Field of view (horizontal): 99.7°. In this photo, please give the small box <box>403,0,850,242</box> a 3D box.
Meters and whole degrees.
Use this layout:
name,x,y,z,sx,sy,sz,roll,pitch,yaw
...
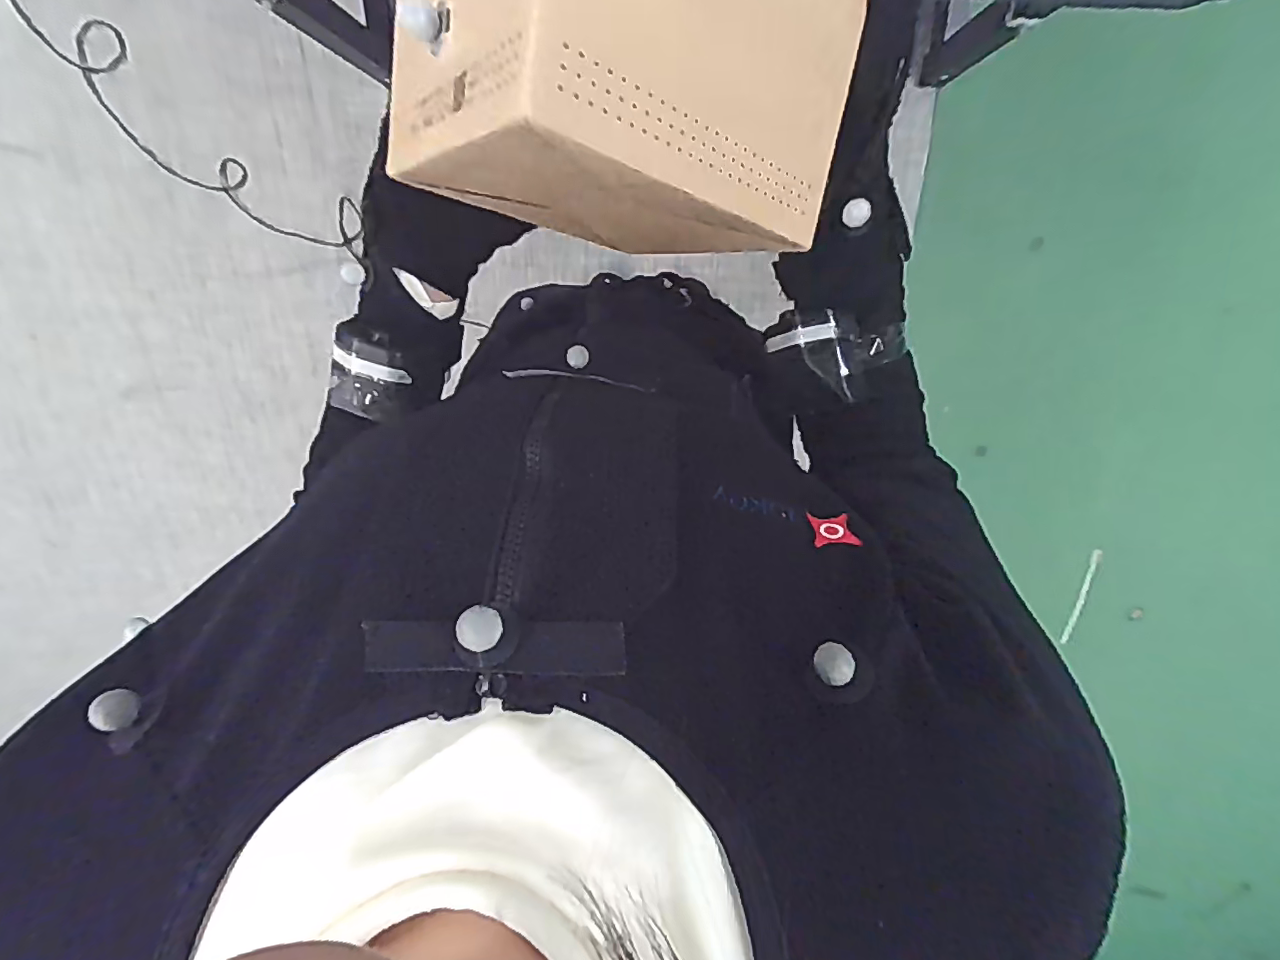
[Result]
name,x,y,z,sx,sy,sz,roll,pitch,yaw
small box,-0.010,-0.235,0.287,0.179,0.168,0.176,-3,108,-40
